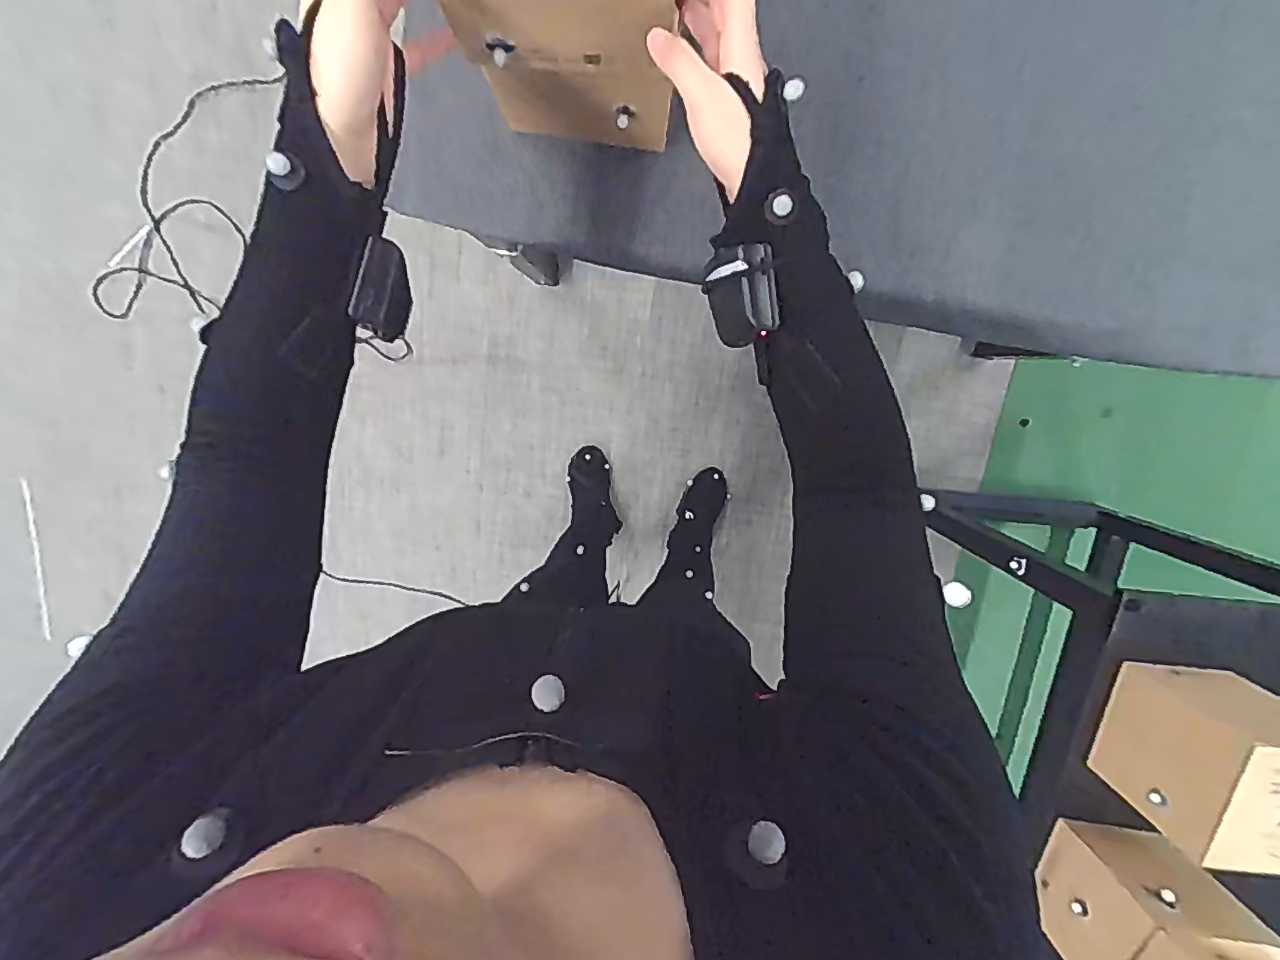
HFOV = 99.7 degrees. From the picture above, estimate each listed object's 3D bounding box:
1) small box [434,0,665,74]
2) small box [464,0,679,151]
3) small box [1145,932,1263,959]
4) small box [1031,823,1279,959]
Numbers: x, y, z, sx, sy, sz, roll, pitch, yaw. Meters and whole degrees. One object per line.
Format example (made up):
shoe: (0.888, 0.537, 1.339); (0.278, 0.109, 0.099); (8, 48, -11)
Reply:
small box: (-0.061, -0.407, 0.355); (0.168, 0.176, 0.179); (2, 100, -1)
small box: (-0.053, -0.440, 0.516); (0.179, 0.176, 0.168); (6, 100, -1)
small box: (0.680, 0.665, 0.598); (0.168, 0.176, 0.179); (18, 102, -4)
small box: (0.702, 0.619, 0.754); (0.179, 0.176, 0.168); (10, 103, -3)
